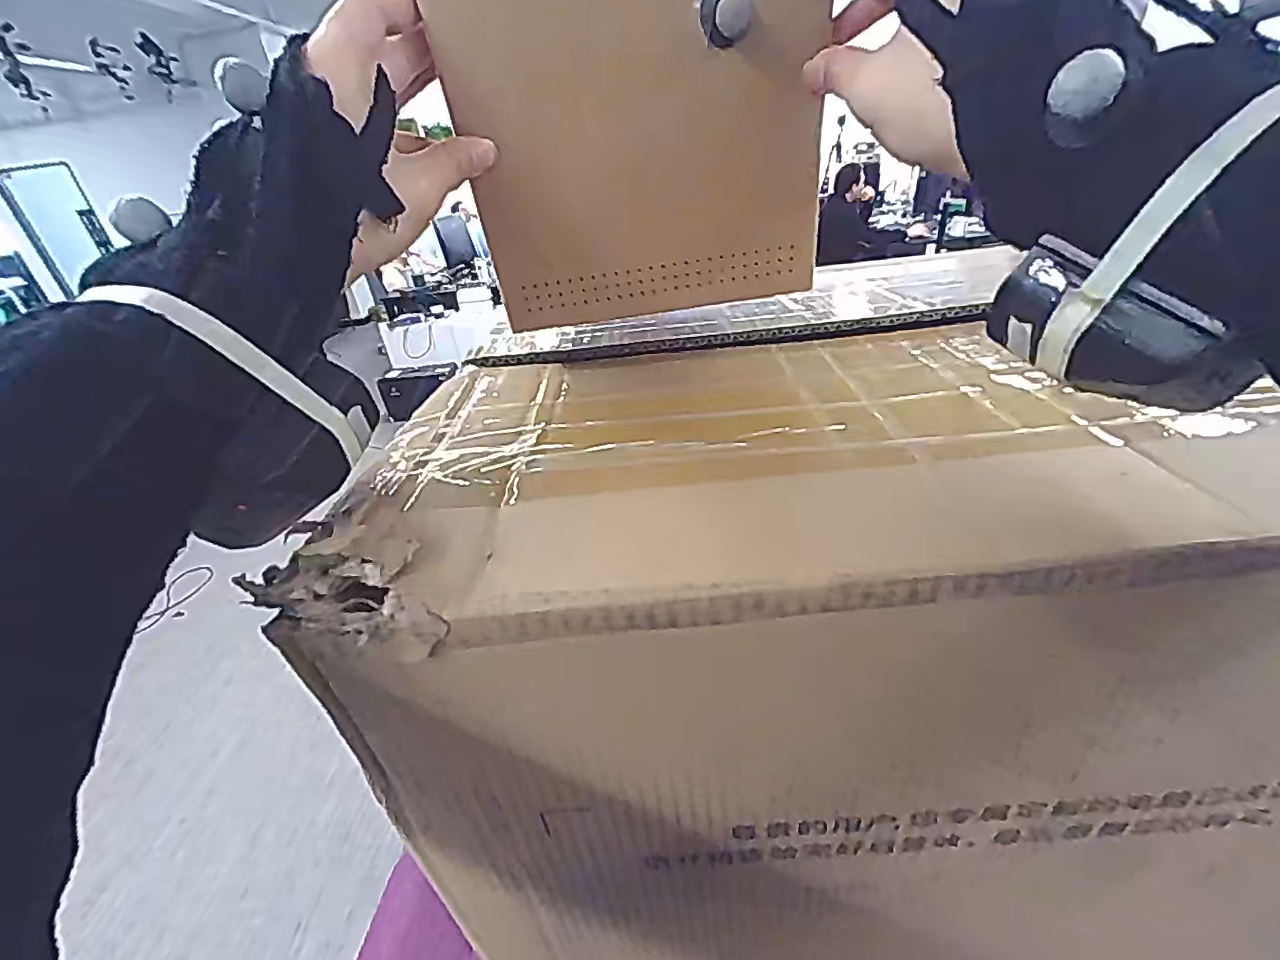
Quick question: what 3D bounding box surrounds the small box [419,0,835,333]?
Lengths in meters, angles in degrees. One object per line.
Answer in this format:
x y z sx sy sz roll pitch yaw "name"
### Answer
-0.001 -0.205 0.319 0.179 0.176 0.168 -8 38 2 "small box"
